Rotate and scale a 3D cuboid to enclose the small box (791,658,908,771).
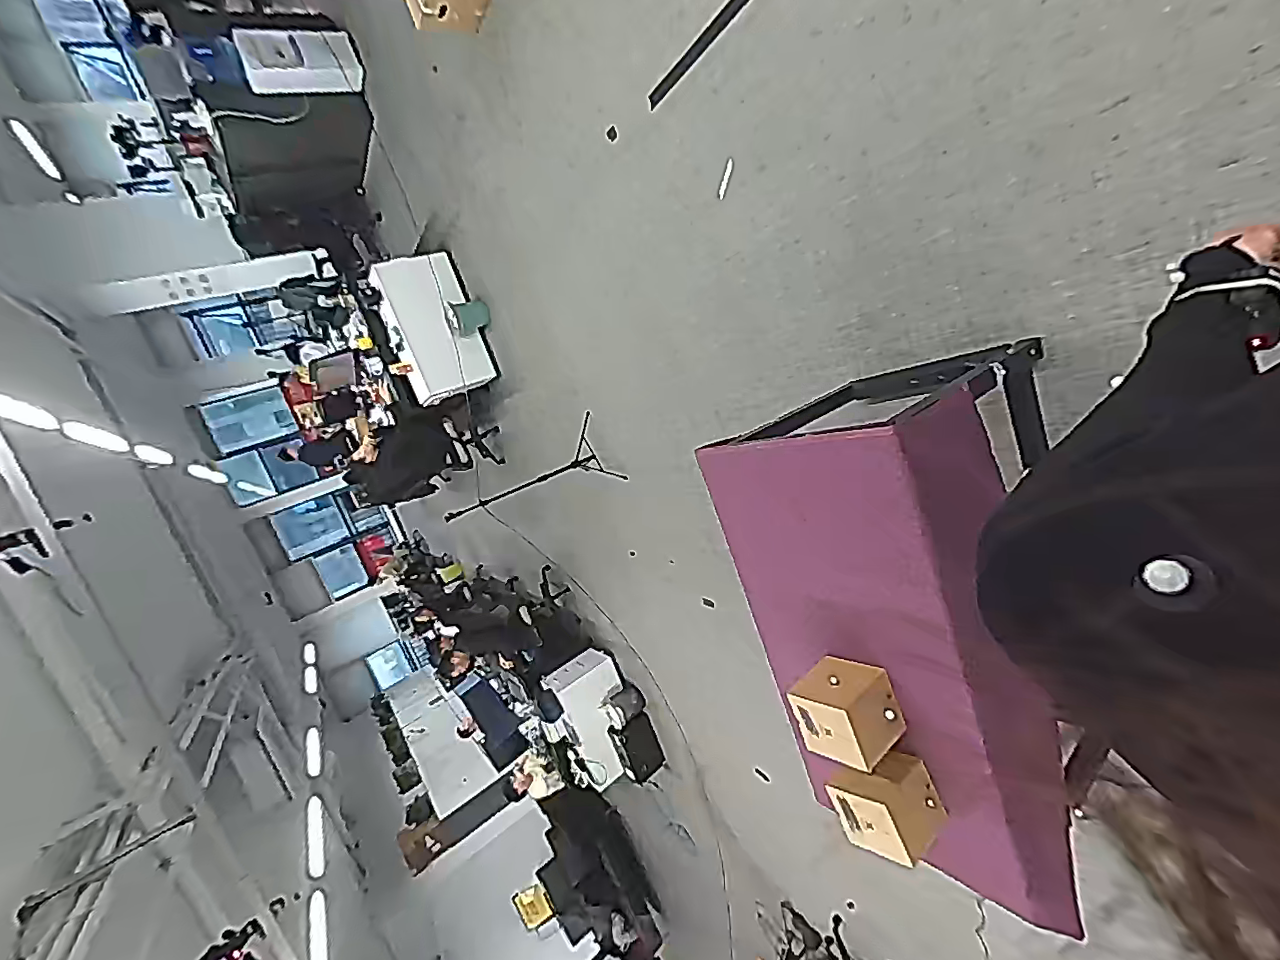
[{"bbox_3d":[0.506,0.553,1.306,0.179,0.176,0.168,-11,103,58],"label":"small box"}]
